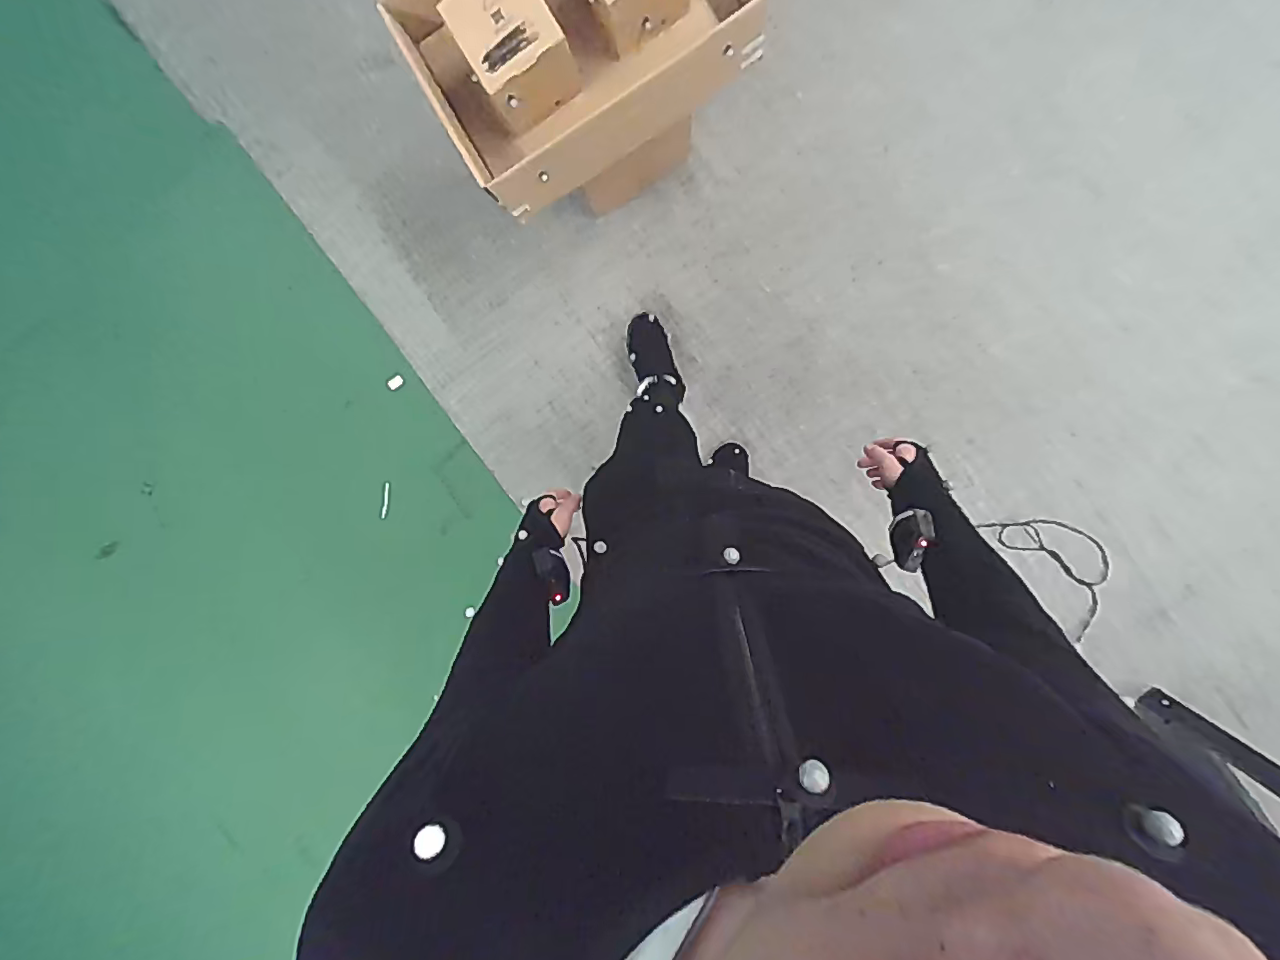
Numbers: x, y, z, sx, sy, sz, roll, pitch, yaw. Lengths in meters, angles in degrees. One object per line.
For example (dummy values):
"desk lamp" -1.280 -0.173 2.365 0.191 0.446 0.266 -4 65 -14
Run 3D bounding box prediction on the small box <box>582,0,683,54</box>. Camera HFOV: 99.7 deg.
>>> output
"small box" -0.032 -0.932 0.968 0.168 0.176 0.179 -30 97 9
